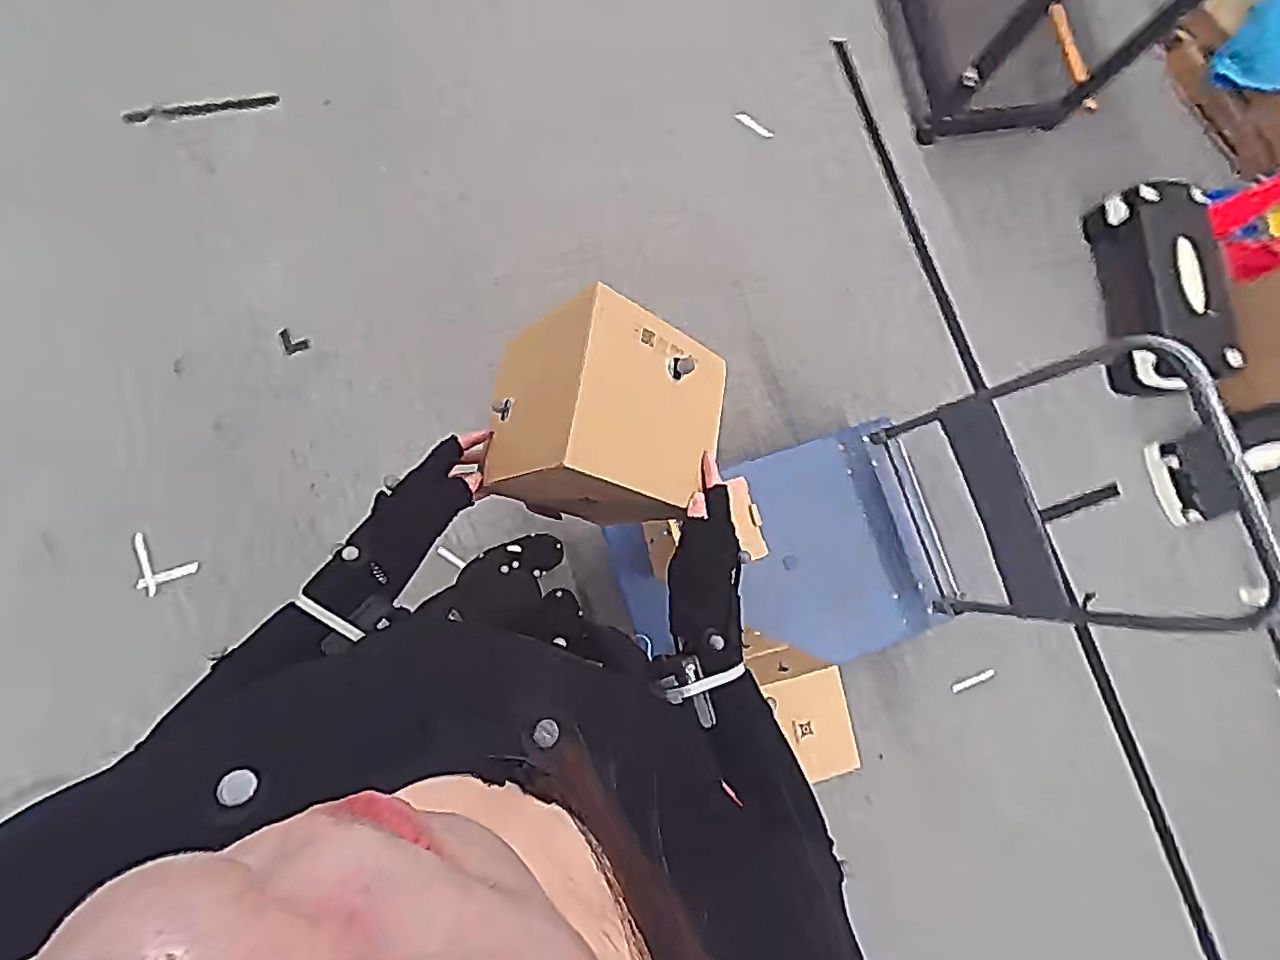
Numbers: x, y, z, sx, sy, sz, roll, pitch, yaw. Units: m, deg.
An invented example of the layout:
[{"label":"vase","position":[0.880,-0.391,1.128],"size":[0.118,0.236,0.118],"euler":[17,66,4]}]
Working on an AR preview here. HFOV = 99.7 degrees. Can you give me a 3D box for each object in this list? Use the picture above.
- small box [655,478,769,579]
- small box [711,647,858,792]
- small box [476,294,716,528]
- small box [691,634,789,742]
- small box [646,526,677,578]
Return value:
[{"label":"small box","position":[0.138,0.101,1.130],"size":[0.179,0.176,0.168],"euler":[-15,85,-12]},{"label":"small box","position":[0.243,0.403,0.942],"size":[0.179,0.176,0.168],"euler":[-10,85,-11]},{"label":"small box","position":[-0.041,-0.054,0.549],"size":[0.168,0.179,0.176],"euler":[19,71,-36]},{"label":"small box","position":[0.213,0.423,1.104],"size":[0.168,0.176,0.179],"euler":[-12,86,-10]},{"label":"small box","position":[0.112,0.127,1.291],"size":[0.168,0.176,0.179],"euler":[-13,84,-11]}]
